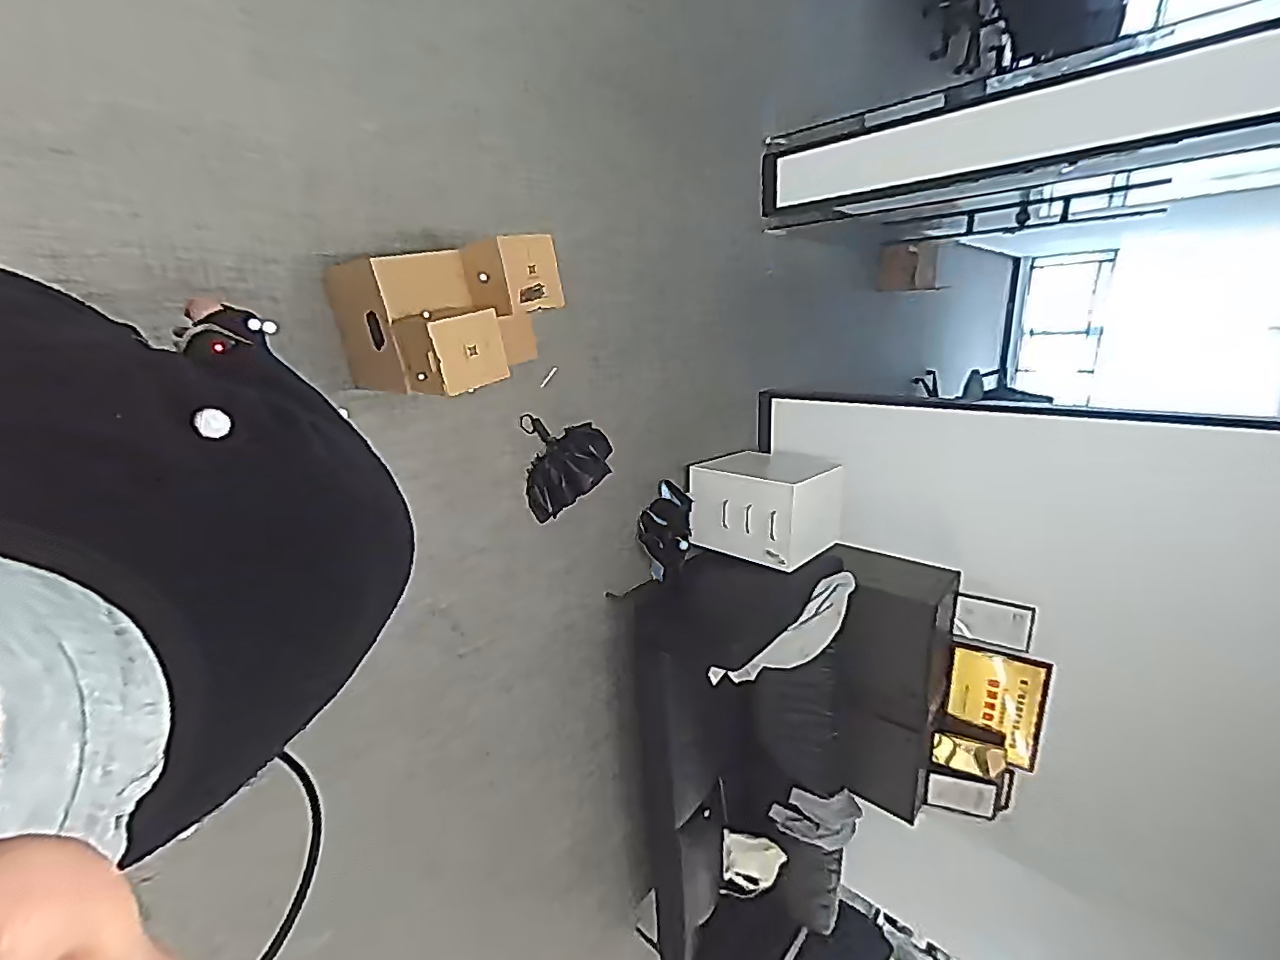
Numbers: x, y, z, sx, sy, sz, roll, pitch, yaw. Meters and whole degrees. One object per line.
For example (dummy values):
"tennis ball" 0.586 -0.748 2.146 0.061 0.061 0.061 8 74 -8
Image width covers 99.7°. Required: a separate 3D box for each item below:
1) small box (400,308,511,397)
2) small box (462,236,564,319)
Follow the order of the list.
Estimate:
"small box" -0.439 -0.303 1.274 0.179 0.176 0.168 -33 125 -41
"small box" -0.319 -0.506 1.361 0.168 0.176 0.179 -27 115 -42
